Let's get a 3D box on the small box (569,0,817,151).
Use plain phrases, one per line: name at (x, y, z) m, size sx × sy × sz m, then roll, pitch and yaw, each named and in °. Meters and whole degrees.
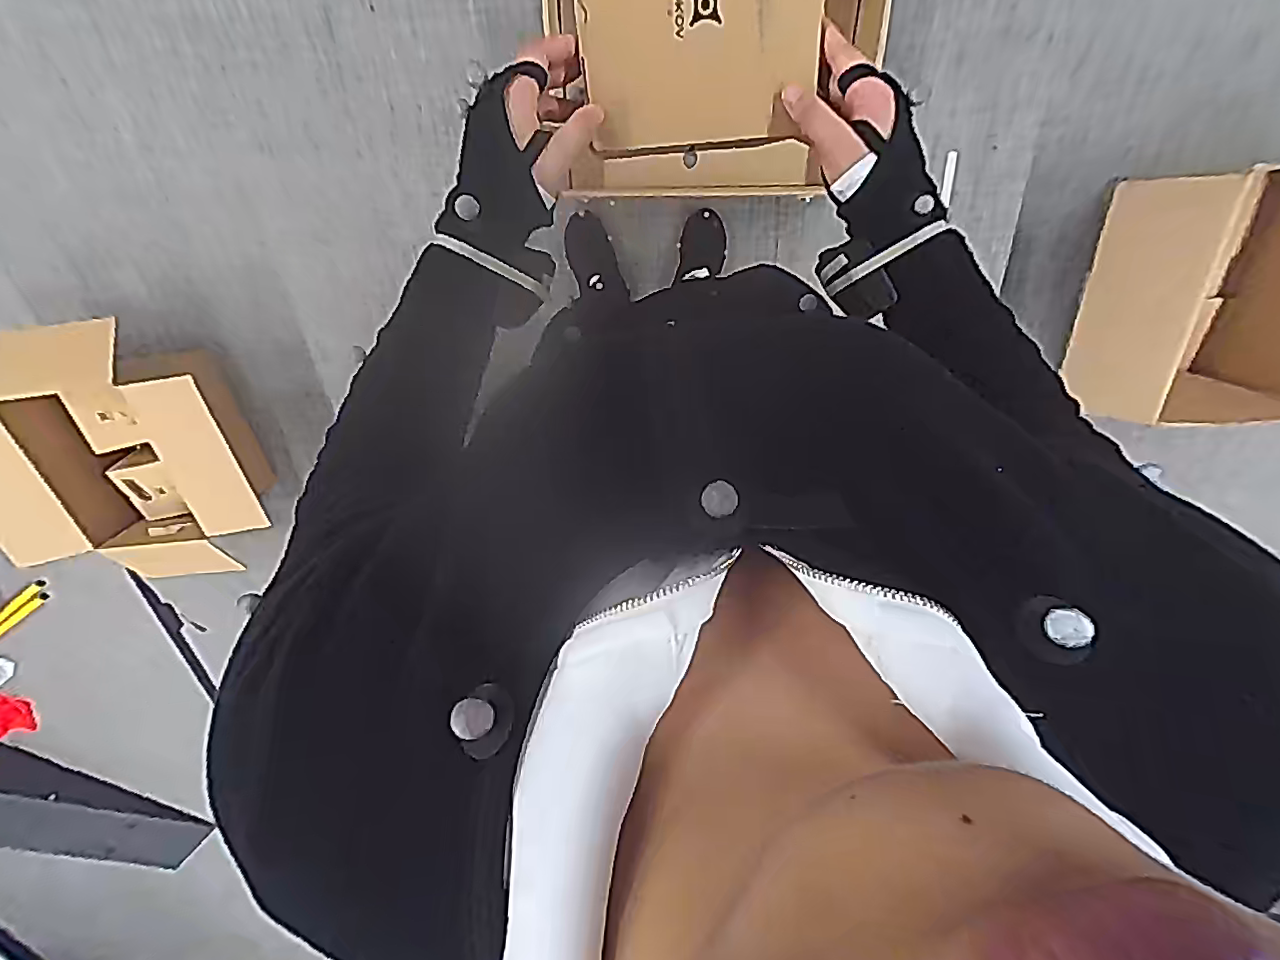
small box at (0.033, -0.376, 0.444) m, size 0.179 × 0.176 × 0.168 m, roll -7°, pitch 120°, yaw -1°
